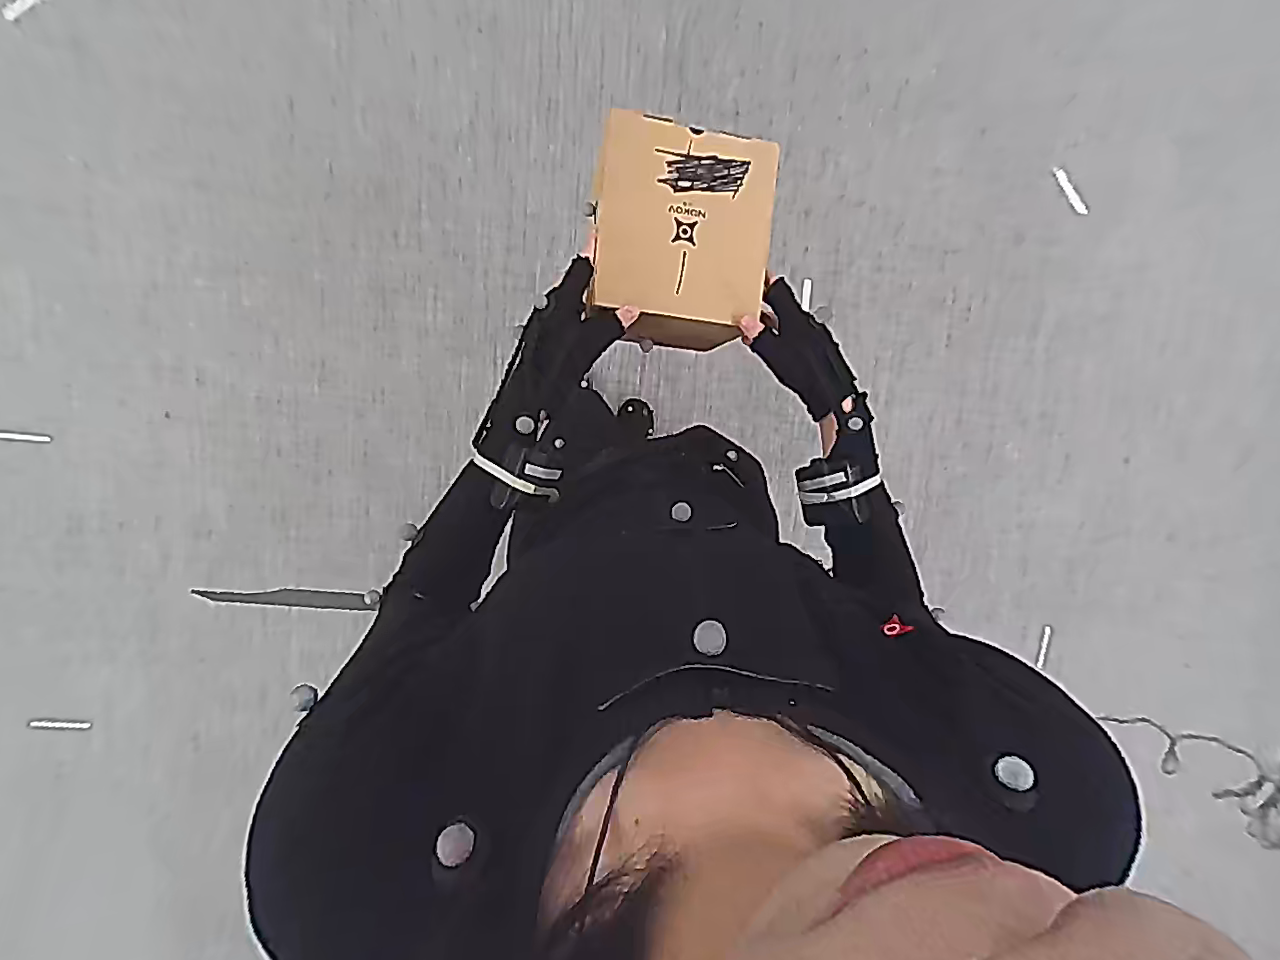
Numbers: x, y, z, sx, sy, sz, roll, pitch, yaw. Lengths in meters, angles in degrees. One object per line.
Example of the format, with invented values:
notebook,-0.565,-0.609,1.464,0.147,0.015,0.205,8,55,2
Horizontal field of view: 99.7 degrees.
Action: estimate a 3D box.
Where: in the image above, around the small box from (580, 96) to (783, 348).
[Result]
small box,0.030,-0.250,0.571,0.168,0.176,0.179,5,94,-11
